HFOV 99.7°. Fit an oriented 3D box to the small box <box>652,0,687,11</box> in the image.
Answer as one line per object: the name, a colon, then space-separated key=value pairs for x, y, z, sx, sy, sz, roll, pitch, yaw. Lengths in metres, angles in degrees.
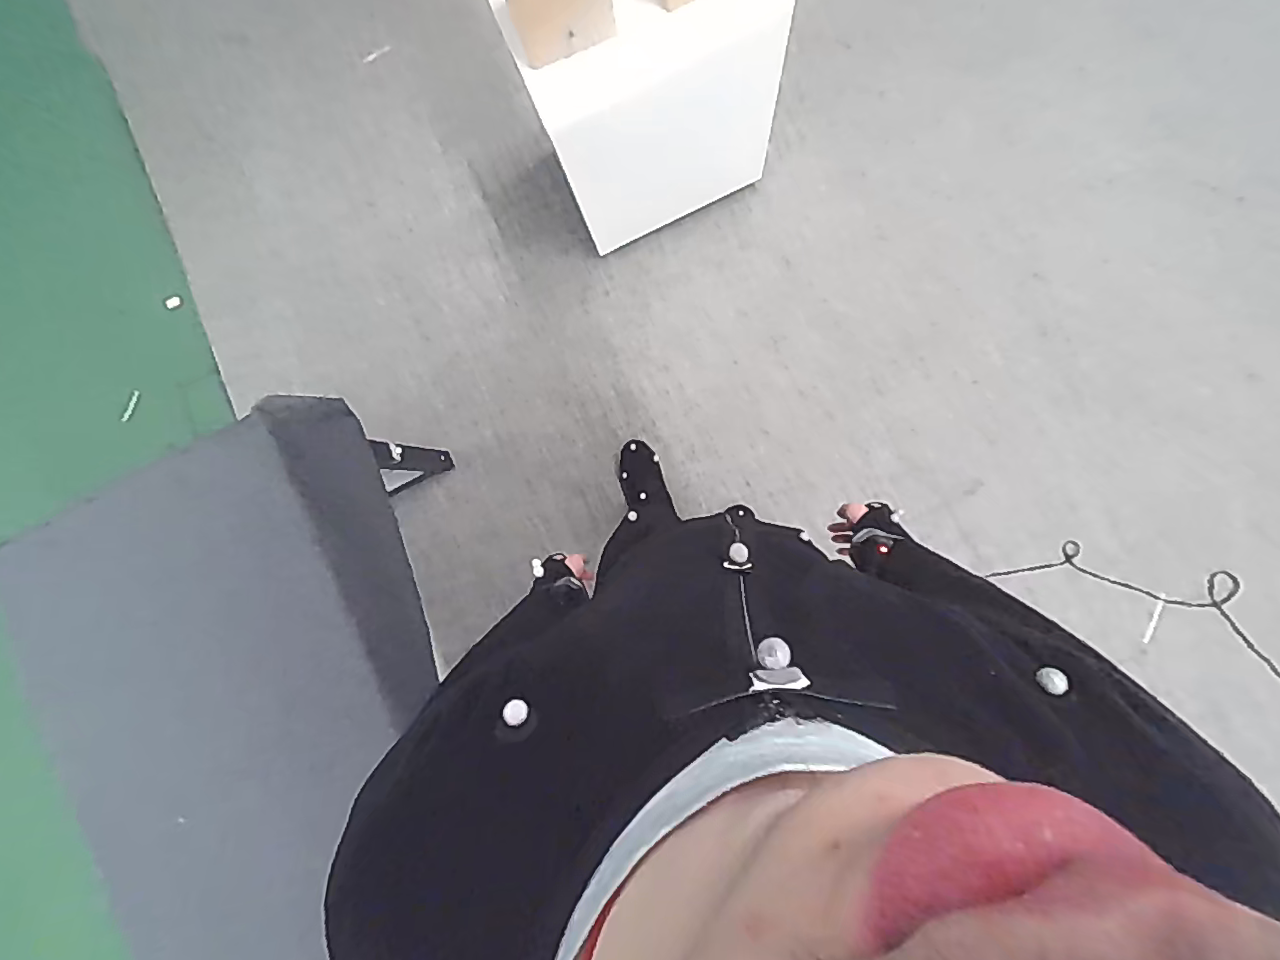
small box: x=0.072 y=-0.963 z=0.916 sx=0.179 sy=0.176 sz=0.168 roll=-24 pitch=87 yaw=3

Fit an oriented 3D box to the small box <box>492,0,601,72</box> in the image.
small box: x=-0.173 y=-0.864 z=0.931 sx=0.179 sy=0.176 sz=0.168 roll=-21 pitch=86 yaw=2
